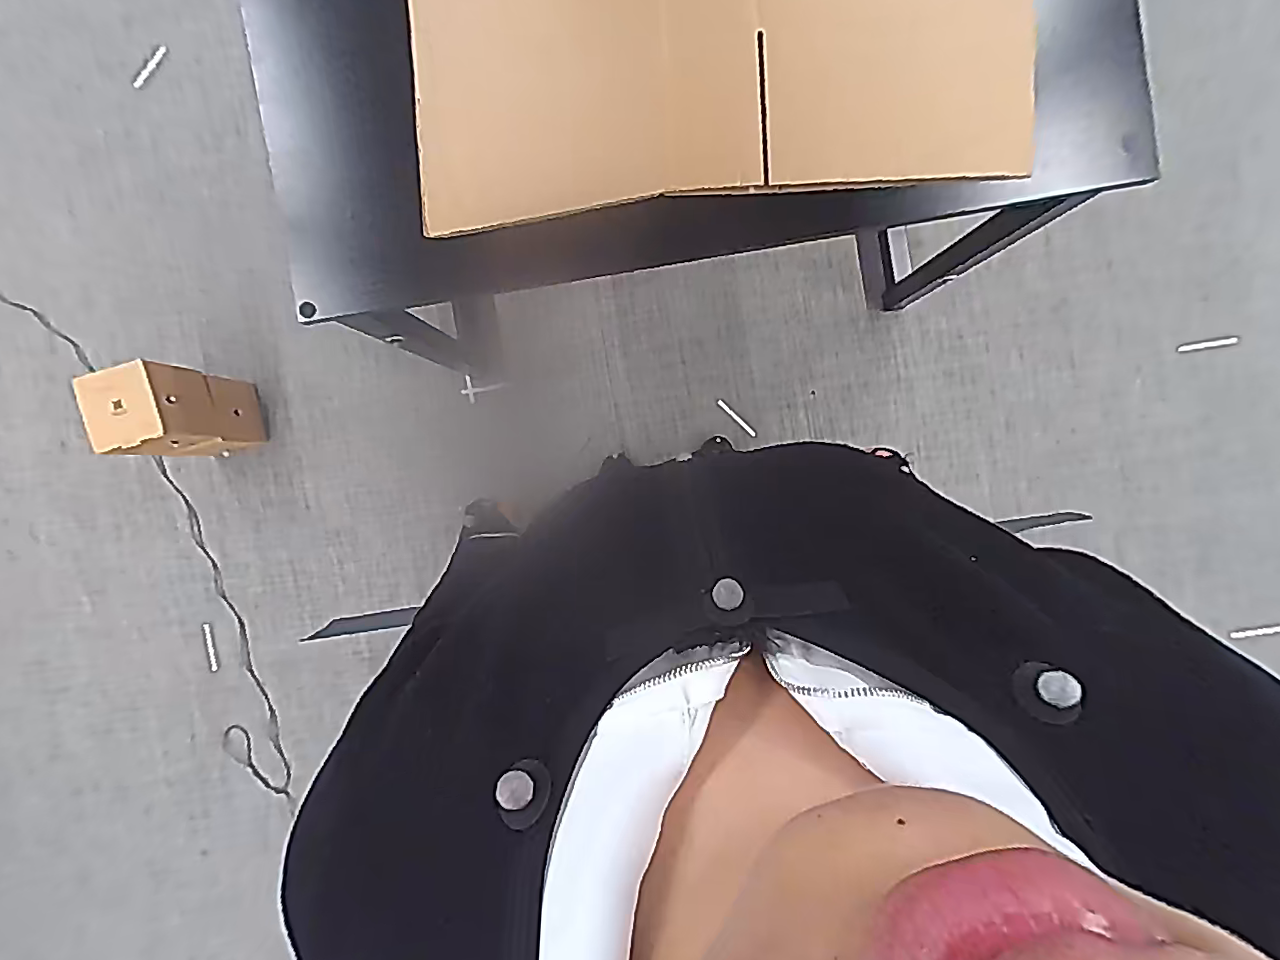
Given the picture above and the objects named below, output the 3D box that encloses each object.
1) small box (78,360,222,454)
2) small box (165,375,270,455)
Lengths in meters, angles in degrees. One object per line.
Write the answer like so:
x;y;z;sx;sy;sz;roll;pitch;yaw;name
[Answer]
-1.139;-0.164;1.274;0.168;0.176;0.179;-16;91;1;small box
-1.133;-0.166;1.436;0.168;0.176;0.179;-13;93;2;small box
